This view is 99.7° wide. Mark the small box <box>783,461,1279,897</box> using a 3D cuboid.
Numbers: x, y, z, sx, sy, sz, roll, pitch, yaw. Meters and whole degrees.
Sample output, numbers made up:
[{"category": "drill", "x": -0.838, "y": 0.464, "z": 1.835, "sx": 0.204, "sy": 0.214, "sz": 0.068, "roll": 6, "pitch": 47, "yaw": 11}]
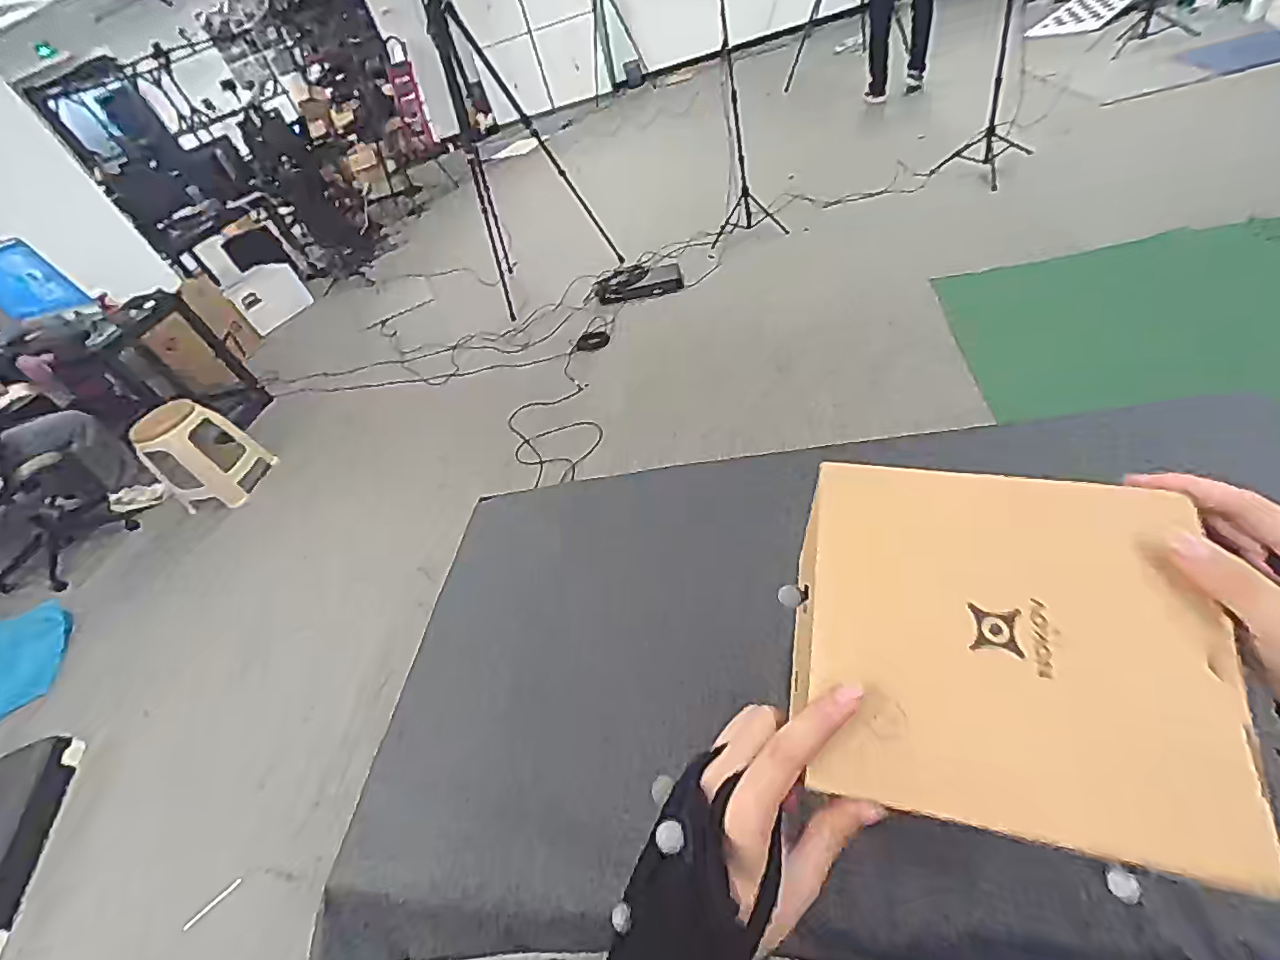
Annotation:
[{"category": "small box", "x": 0.183, "y": 0.105, "z": 0.320, "sx": 0.179, "sy": 0.176, "sz": 0.168, "roll": 7, "pitch": 66, "yaw": 14}]
